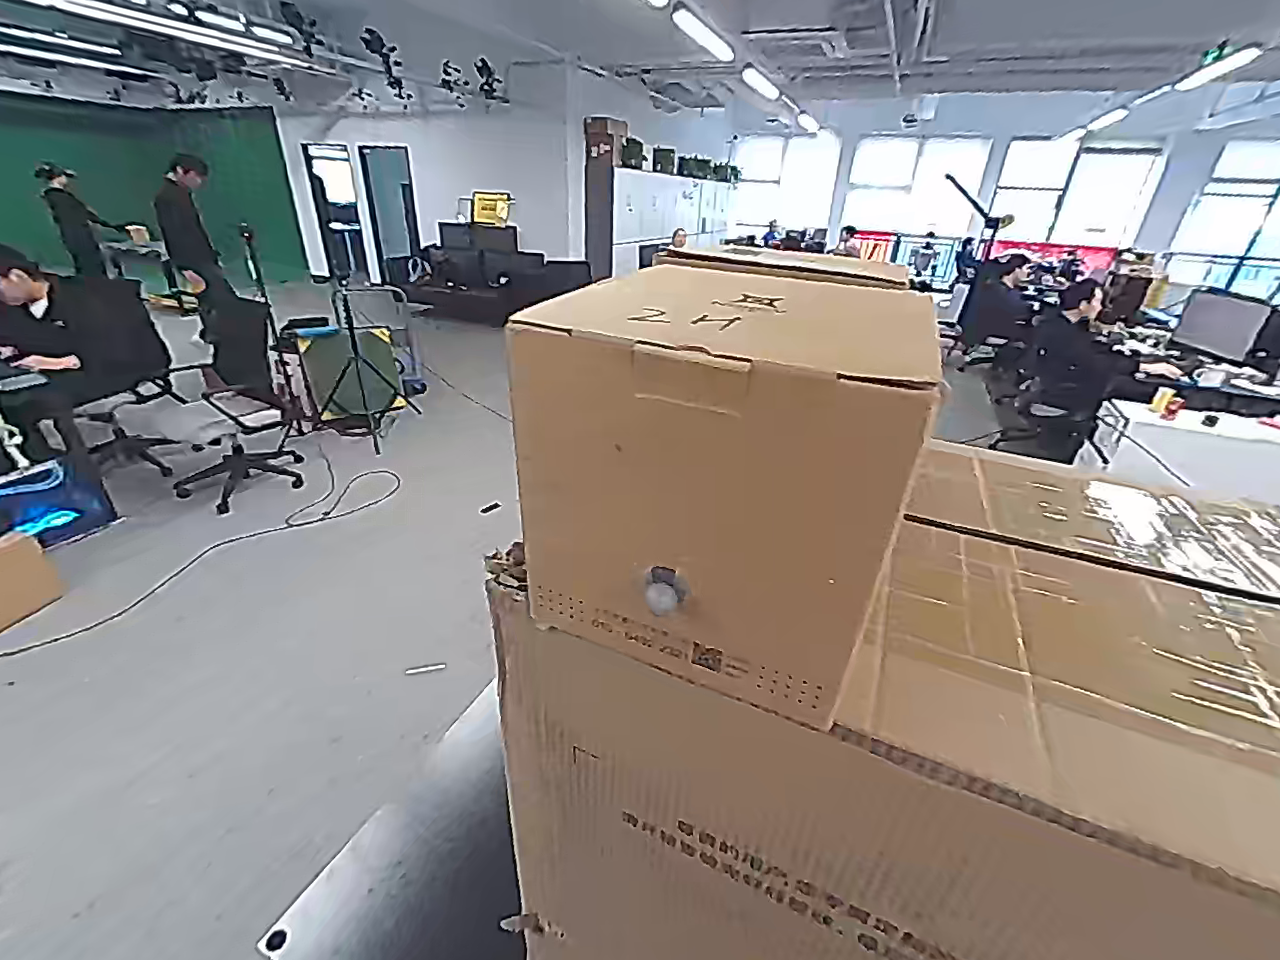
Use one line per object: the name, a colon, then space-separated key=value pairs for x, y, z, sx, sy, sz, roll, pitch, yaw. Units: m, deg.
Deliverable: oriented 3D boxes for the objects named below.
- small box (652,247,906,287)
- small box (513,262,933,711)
small box: x=0.114 y=-0.104 z=0.470 sx=0.179 sy=0.176 sz=0.168 roll=15 pitch=29 yaw=20
small box: x=0.050 y=-0.015 z=0.303 sx=0.168 sy=0.176 sz=0.179 roll=14 pitch=33 yaw=20
